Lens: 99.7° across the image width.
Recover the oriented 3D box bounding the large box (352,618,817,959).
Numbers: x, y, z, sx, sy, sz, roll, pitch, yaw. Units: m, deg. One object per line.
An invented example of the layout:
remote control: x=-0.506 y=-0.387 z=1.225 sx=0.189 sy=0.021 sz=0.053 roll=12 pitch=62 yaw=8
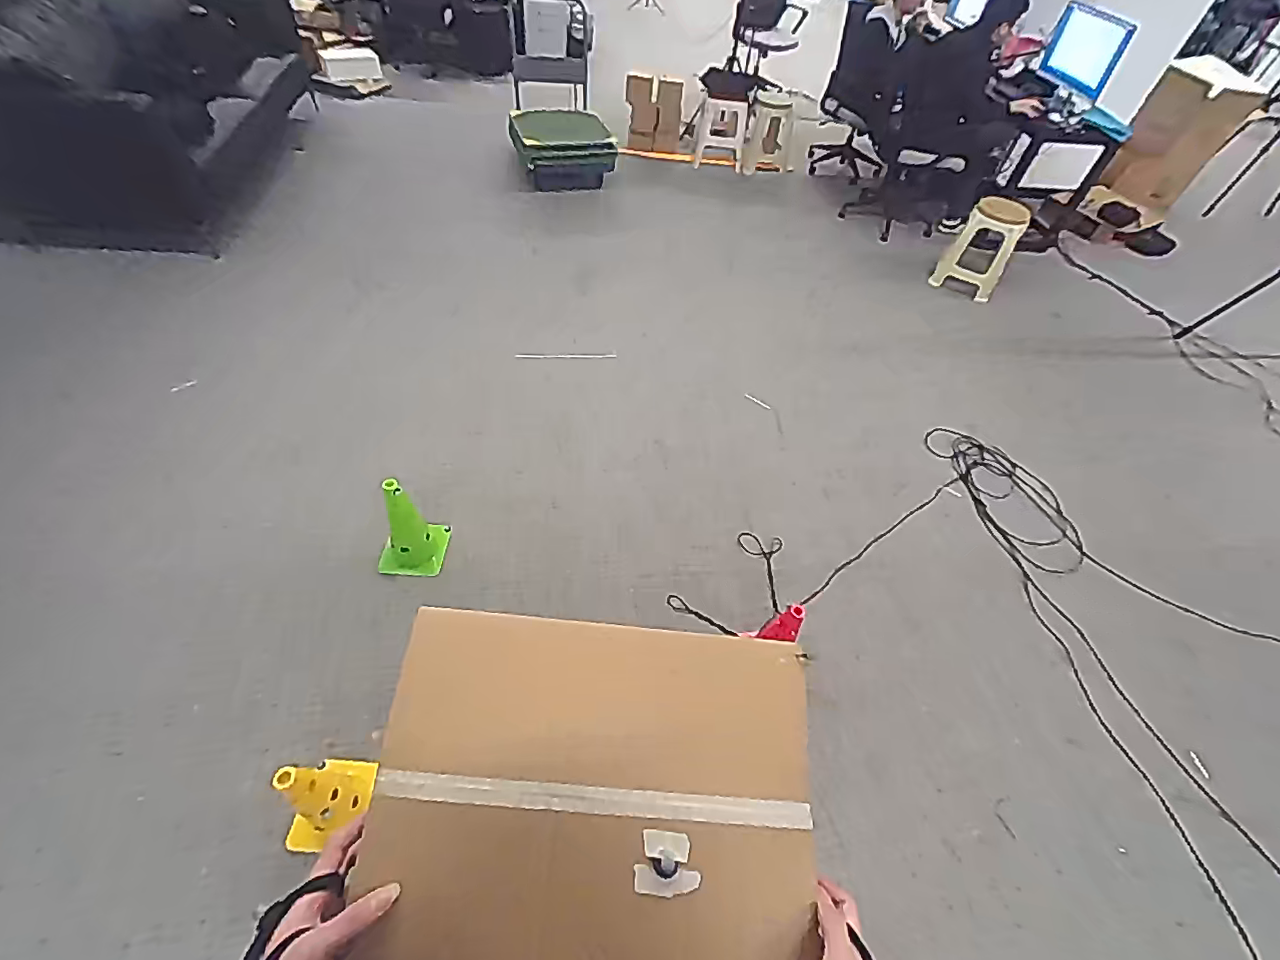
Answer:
large box: x=-0.049 y=0.360 z=0.644 sx=0.408 sy=0.320 sz=0.320 roll=6 pitch=67 yaw=-3

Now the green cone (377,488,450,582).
green cone: x=-0.743 y=0.144 z=1.684 sx=0.200 sy=0.368 sz=0.202 roll=3 pitch=51 yaw=-4
